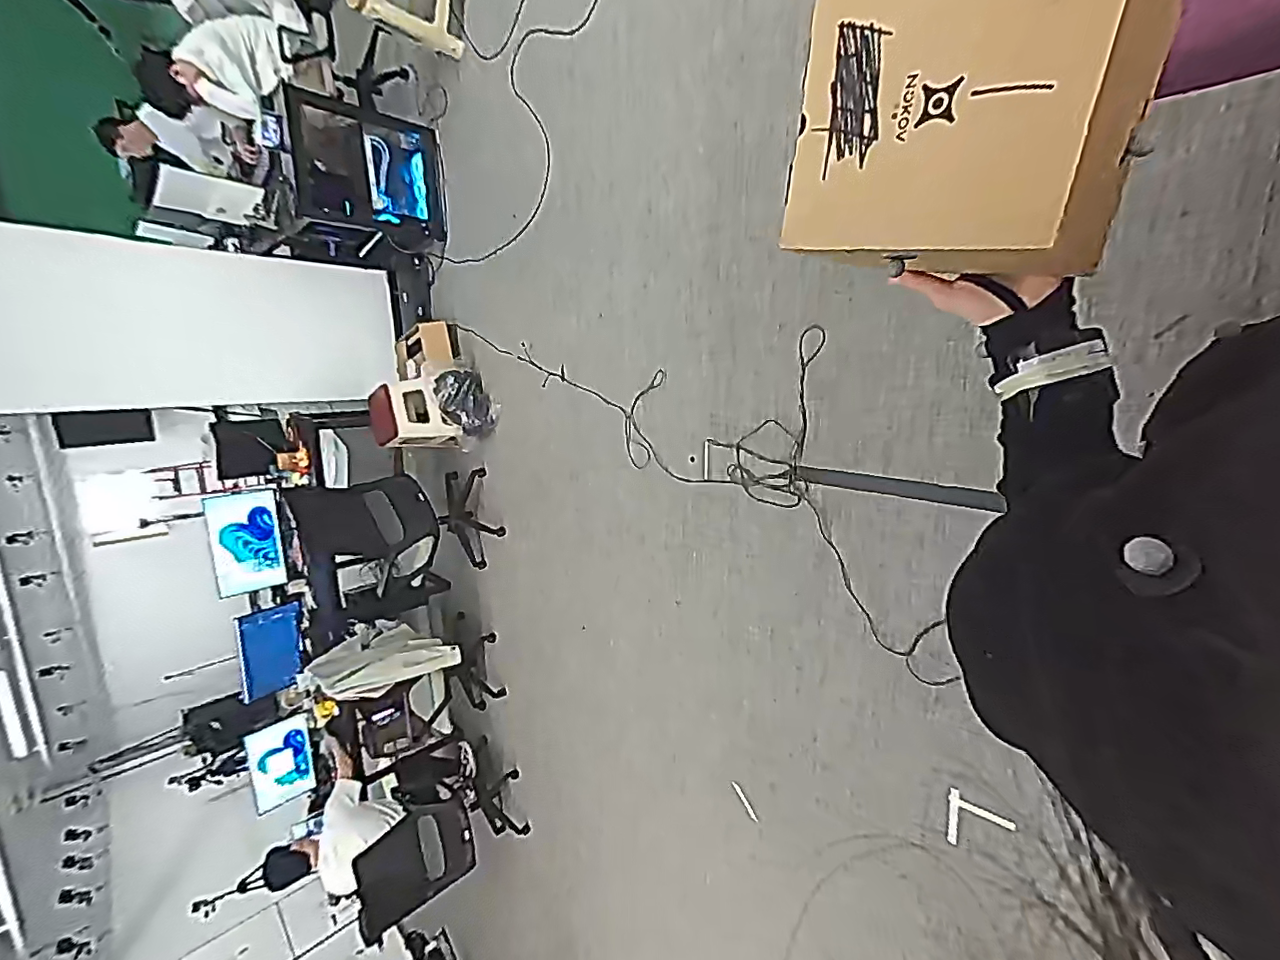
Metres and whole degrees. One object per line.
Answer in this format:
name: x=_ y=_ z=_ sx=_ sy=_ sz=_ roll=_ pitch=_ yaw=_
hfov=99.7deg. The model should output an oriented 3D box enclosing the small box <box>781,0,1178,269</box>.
small box: x=0.229 y=-0.243 z=0.379 sx=0.179 sy=0.176 sz=0.168 roll=22 pitch=115 yaw=41
